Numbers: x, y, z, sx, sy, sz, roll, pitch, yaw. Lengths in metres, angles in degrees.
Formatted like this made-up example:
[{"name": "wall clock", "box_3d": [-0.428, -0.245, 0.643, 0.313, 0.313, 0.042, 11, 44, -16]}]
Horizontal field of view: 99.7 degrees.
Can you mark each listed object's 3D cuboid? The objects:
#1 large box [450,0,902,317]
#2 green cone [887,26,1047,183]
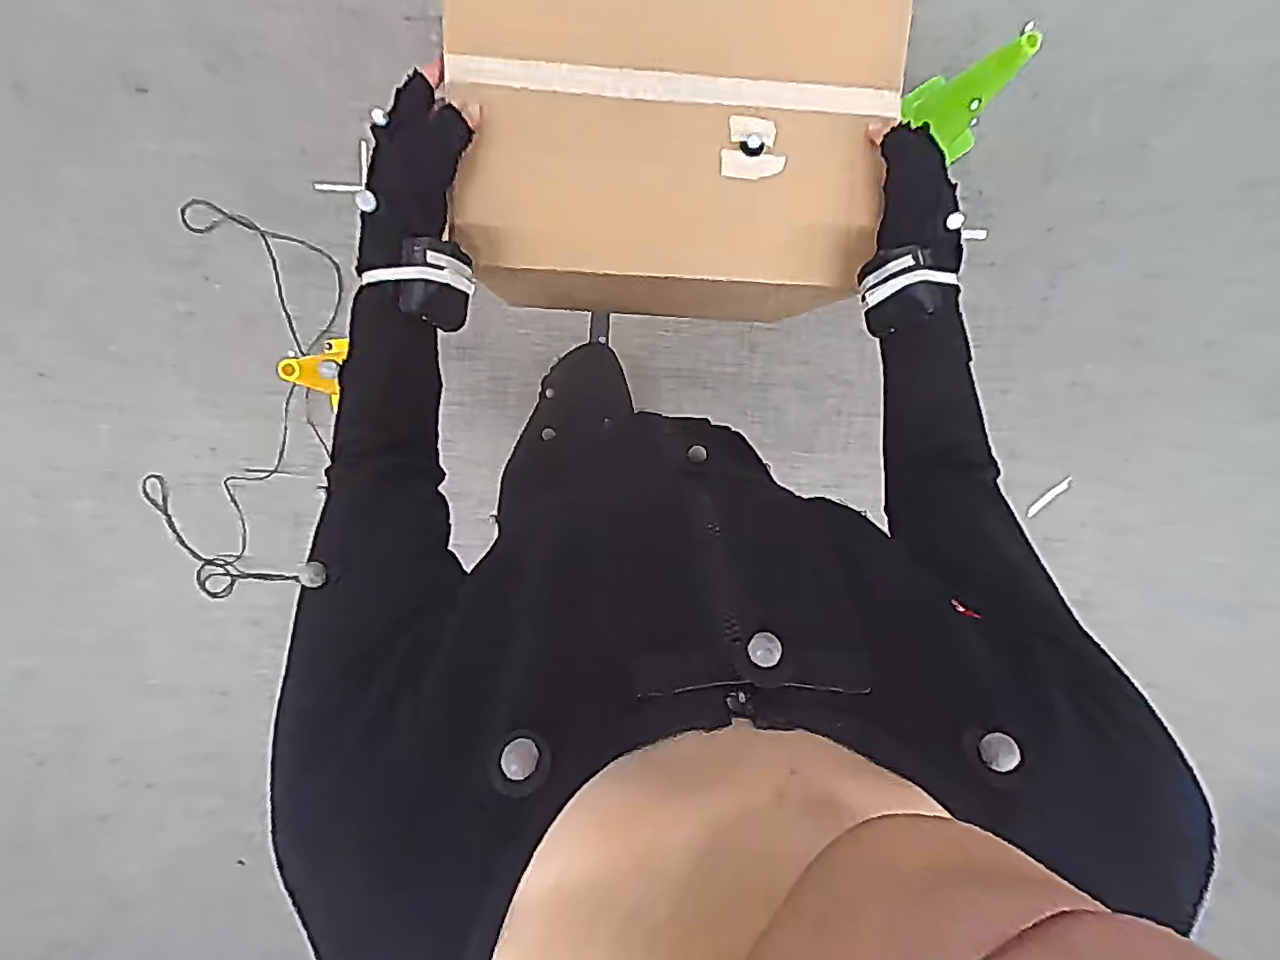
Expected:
[{"name": "large box", "box_3d": [0.020, -0.373, 0.627, 0.408, 0.320, 0.320, 1, 101, -6]}, {"name": "green cone", "box_3d": [0.741, -0.865, 1.207, 0.202, 0.368, 0.200, -34, 100, 1]}]
